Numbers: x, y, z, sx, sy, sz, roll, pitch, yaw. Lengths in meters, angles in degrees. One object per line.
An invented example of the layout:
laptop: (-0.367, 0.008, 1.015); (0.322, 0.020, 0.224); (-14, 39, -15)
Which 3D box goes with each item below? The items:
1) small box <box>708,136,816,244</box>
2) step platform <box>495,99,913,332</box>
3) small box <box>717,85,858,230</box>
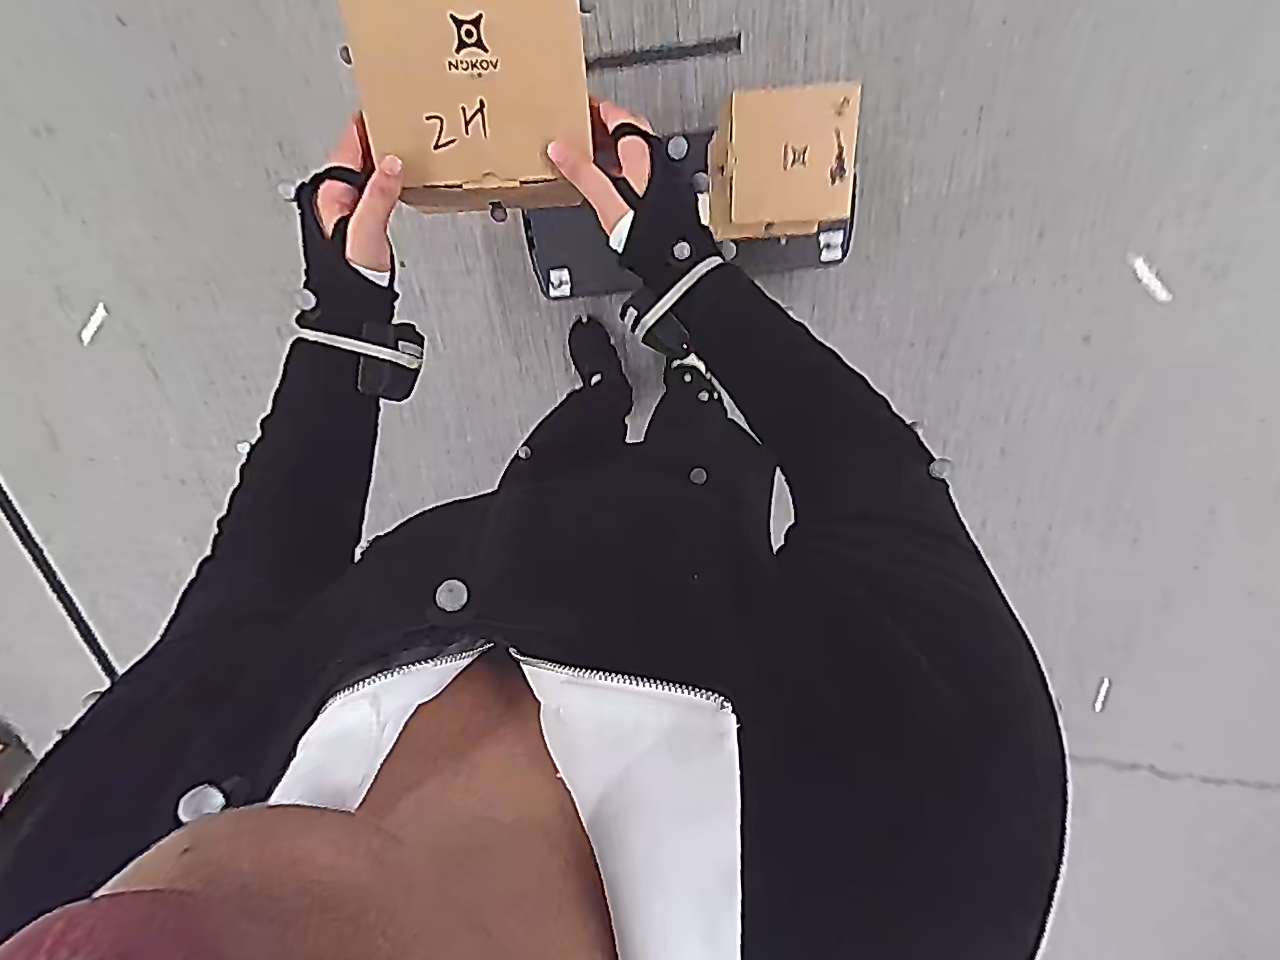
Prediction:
small box: (0.216, -0.528, 0.988); (0.179, 0.176, 0.168); (-4, 113, 4)
step platform: (0.104, -0.458, 0.981); (0.684, 0.204, 0.286); (-6, 112, 3)
small box: (0.213, -0.481, 0.831); (0.179, 0.176, 0.168); (-2, 113, 3)
